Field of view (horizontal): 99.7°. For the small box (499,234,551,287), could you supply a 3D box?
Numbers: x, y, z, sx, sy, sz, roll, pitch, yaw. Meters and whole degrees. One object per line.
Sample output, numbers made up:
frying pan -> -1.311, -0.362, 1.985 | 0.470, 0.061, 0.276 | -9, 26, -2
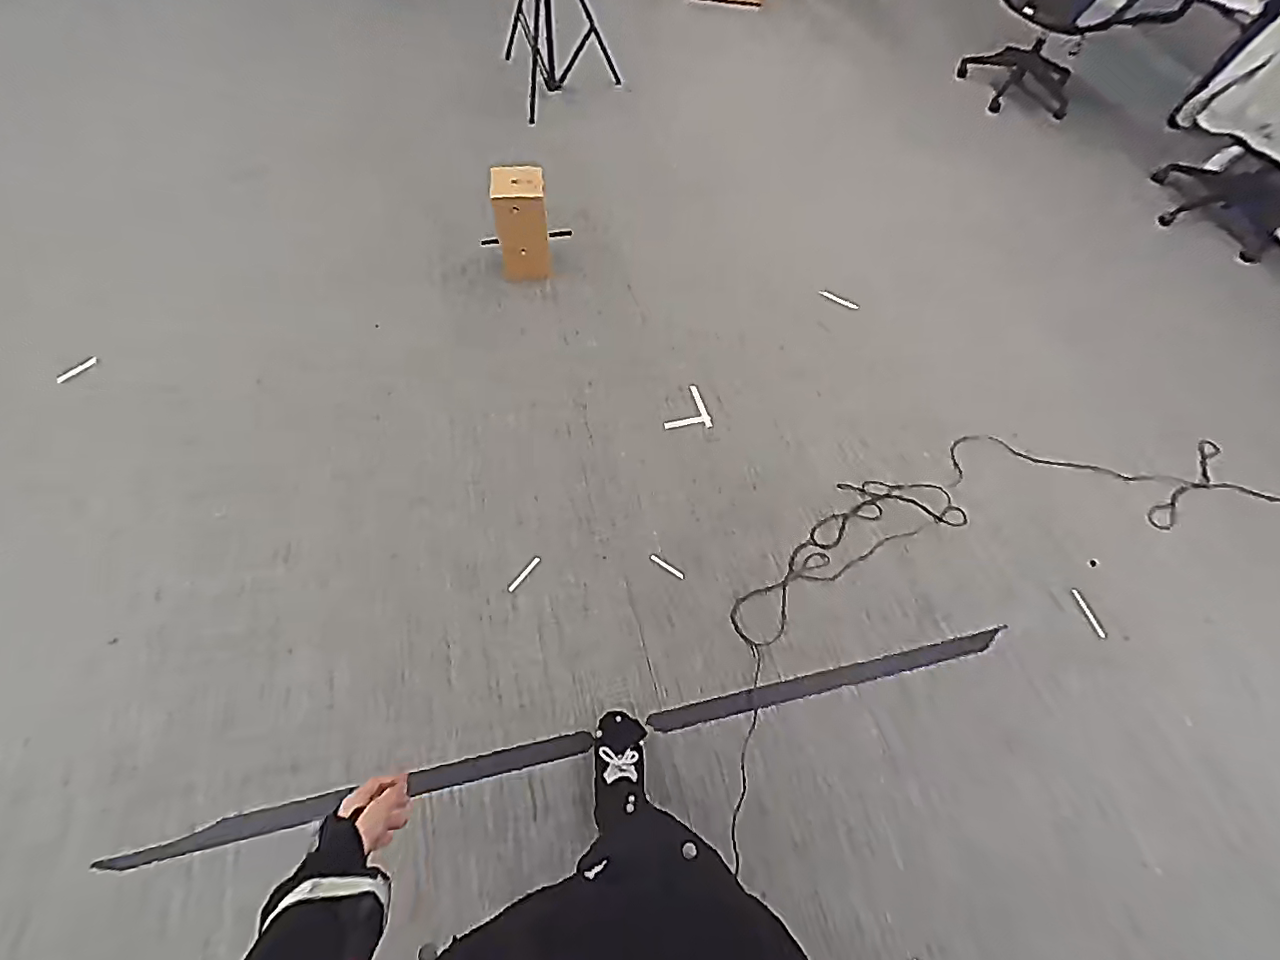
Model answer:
small box -> -0.429, -0.846, 2.021 | 0.179, 0.176, 0.168 | -6, 62, -8

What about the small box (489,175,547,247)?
small box -> -0.421, -0.932, 1.881 | 0.179, 0.176, 0.168 | -4, 62, -6
